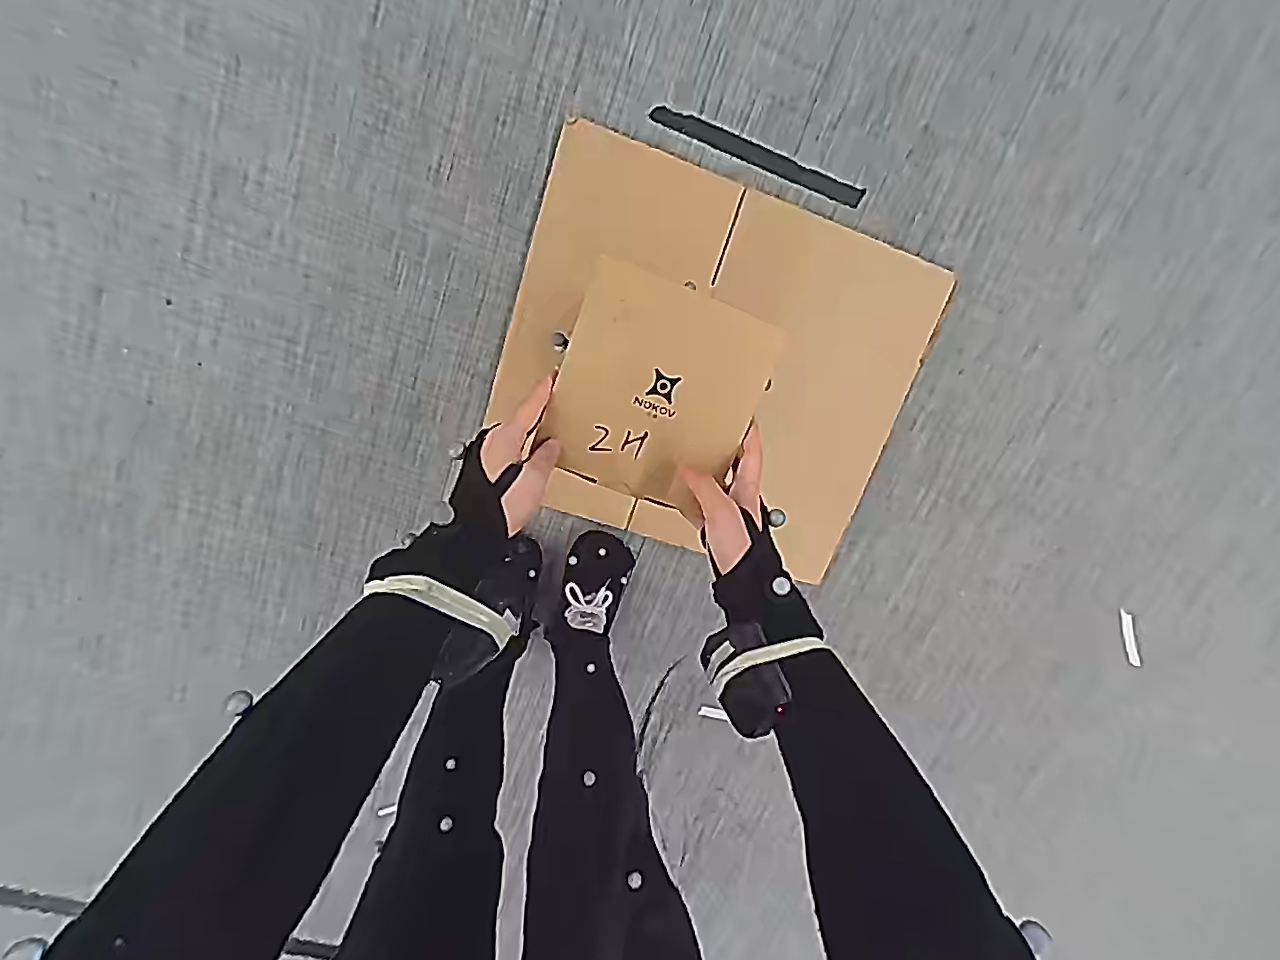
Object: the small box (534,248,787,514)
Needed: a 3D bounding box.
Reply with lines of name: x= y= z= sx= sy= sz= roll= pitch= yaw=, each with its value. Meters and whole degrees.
small box: x=0.007 y=-0.096 z=0.521 sx=0.168 sy=0.176 sz=0.179 roll=20 pitch=103 yaw=-11
